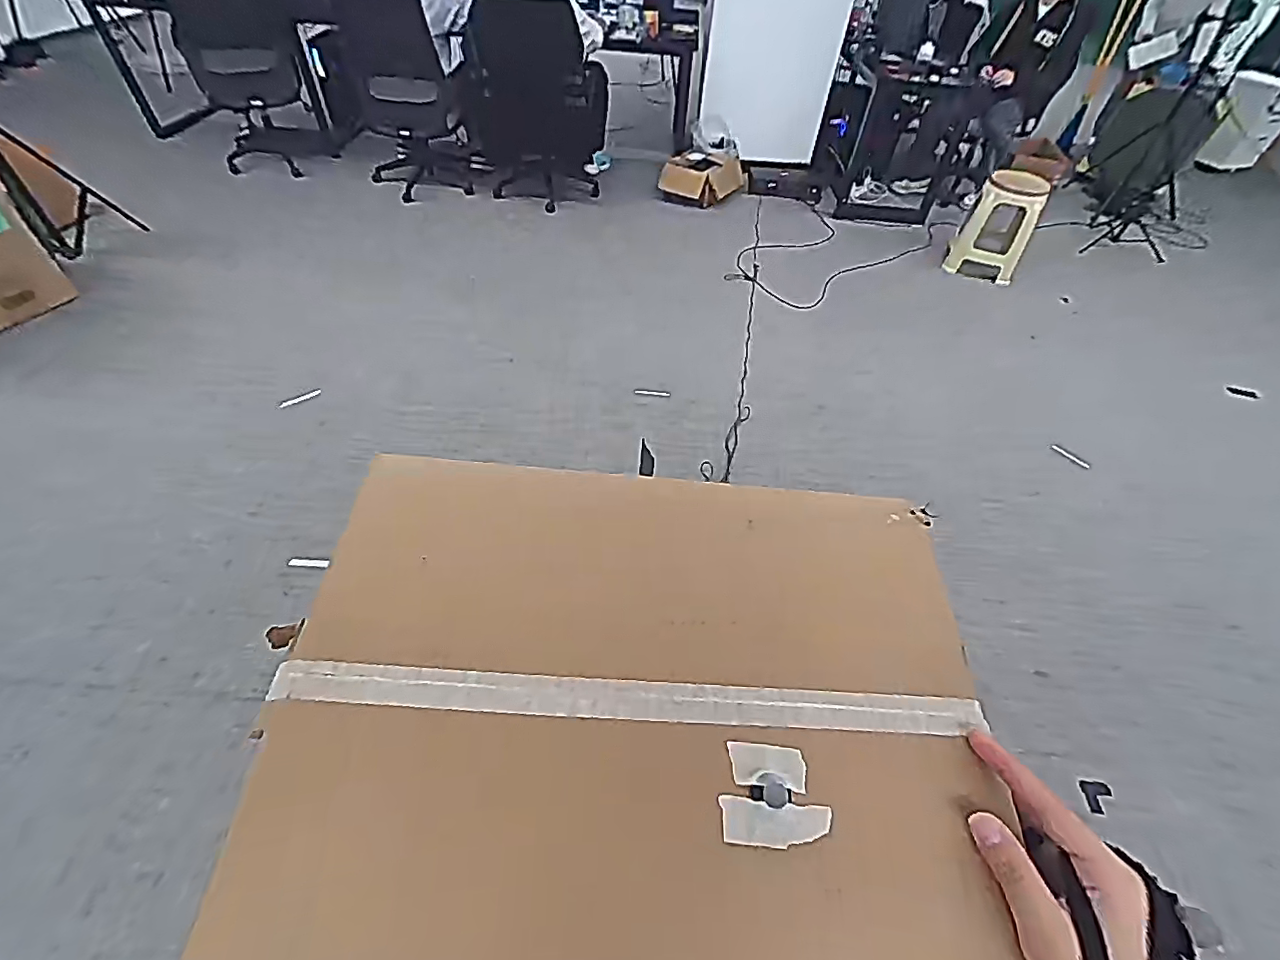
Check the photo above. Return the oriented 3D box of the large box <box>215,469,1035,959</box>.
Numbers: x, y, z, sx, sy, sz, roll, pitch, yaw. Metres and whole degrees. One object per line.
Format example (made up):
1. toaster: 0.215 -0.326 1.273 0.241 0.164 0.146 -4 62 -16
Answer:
1. large box: -0.010 0.215 0.449 0.408 0.320 0.320 5 57 -4
